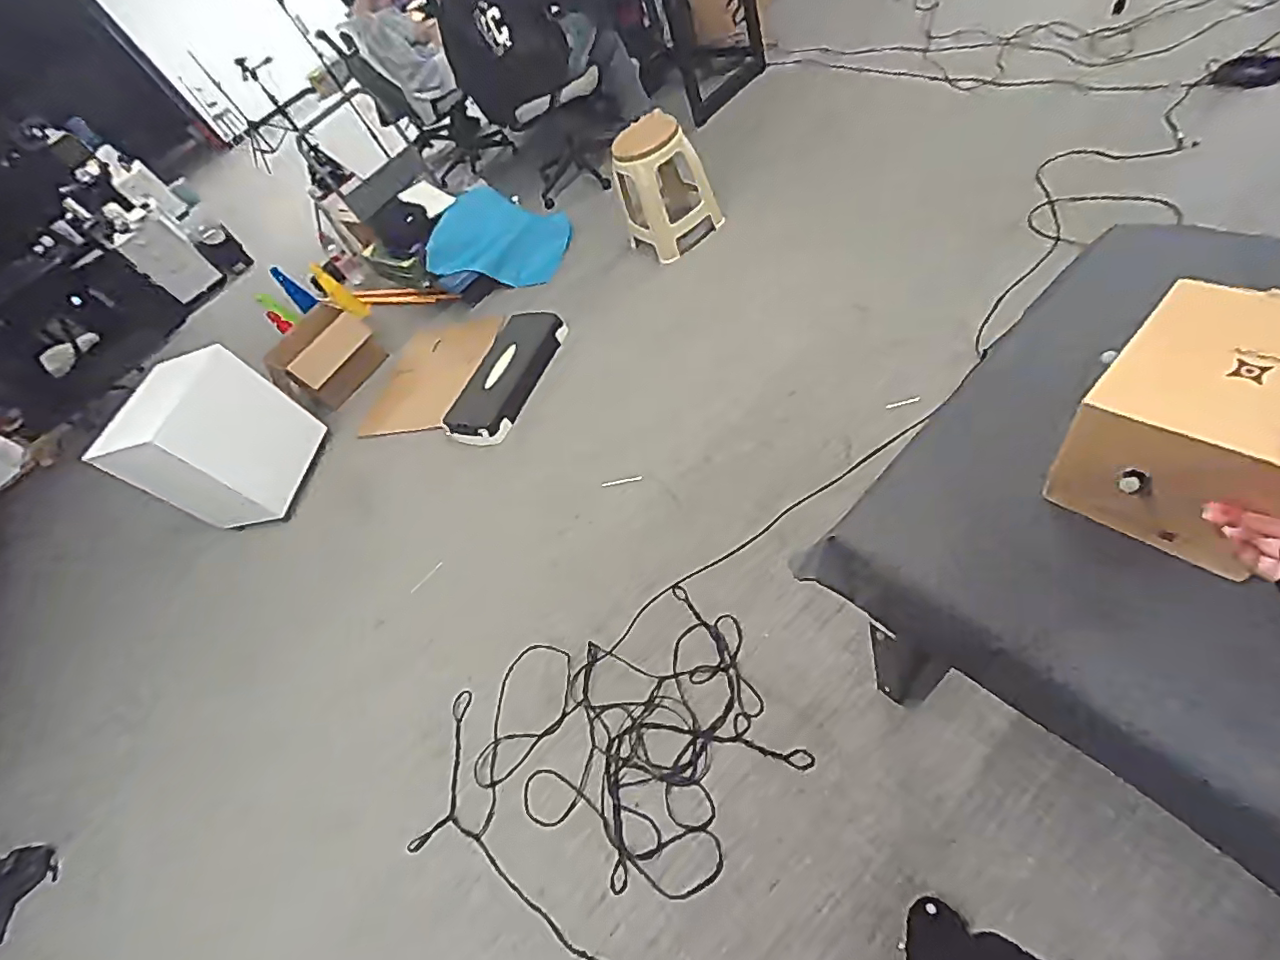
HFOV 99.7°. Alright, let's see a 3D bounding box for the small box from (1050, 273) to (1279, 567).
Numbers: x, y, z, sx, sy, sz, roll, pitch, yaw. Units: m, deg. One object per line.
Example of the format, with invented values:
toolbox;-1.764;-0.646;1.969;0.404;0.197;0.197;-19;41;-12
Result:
small box;0.517;-0.052;0.498;0.179;0.176;0.168;-45;51;-11
